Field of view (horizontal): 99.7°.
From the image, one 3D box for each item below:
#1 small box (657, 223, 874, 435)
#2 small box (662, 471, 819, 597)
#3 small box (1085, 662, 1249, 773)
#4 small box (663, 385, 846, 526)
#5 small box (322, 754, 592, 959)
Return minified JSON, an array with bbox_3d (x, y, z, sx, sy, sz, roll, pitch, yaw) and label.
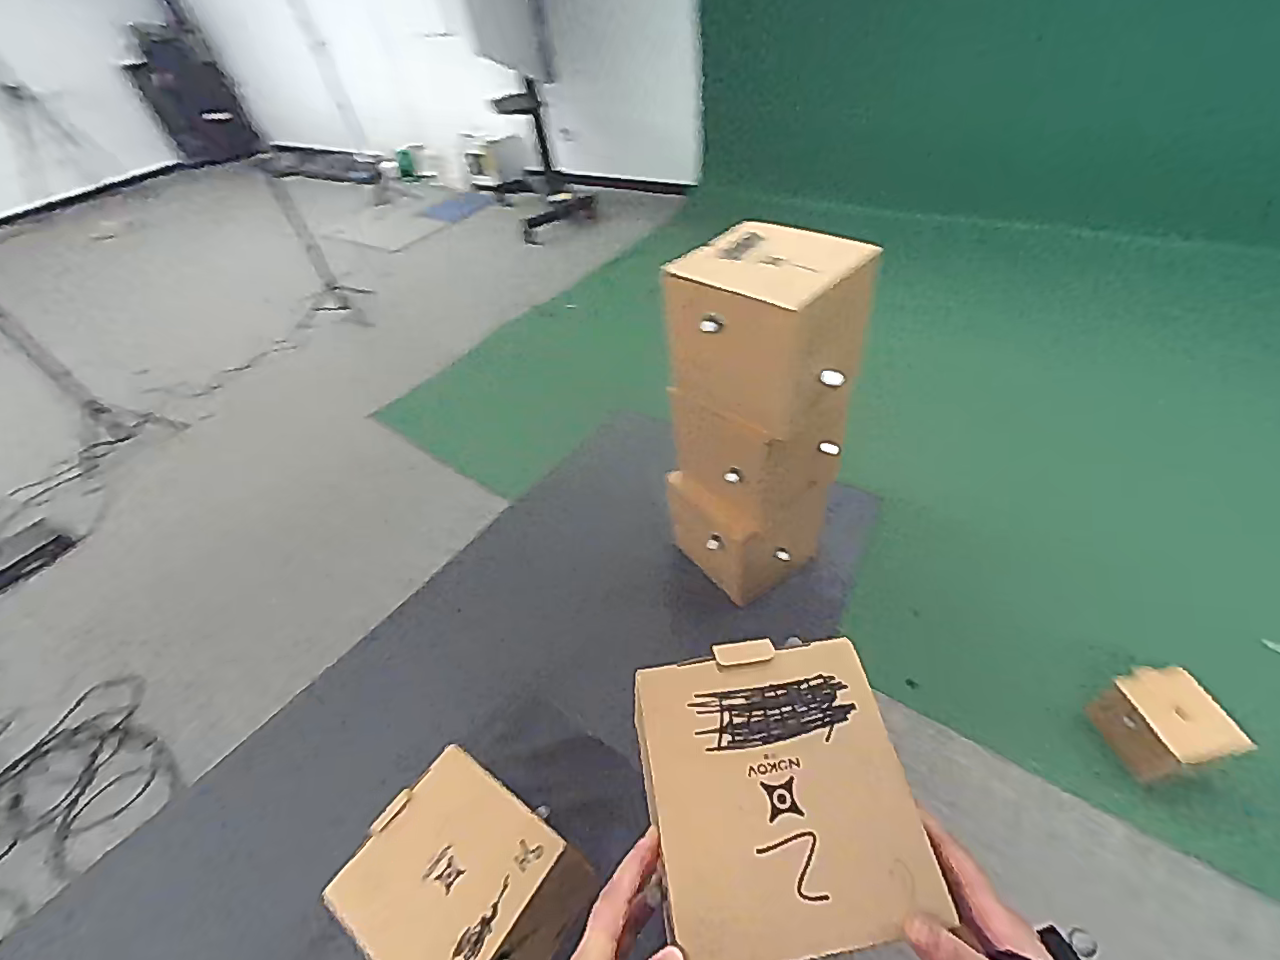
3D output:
[{"bbox_3d":[0.142,-0.179,0.639,0.179,0.176,0.168,31,57,34],"label":"small box"},{"bbox_3d":[0.159,0.061,0.861,0.168,0.176,0.179,-30,46,-19],"label":"small box"},{"bbox_3d":[1.190,0.550,1.239,0.168,0.176,0.179,-12,45,-1],"label":"small box"},{"bbox_3d":[0.156,-0.061,0.753,0.168,0.176,0.179,-34,47,-23],"label":"small box"},{"bbox_3d":[-0.175,0.432,0.561,0.179,0.176,0.168,21,53,29],"label":"small box"}]
